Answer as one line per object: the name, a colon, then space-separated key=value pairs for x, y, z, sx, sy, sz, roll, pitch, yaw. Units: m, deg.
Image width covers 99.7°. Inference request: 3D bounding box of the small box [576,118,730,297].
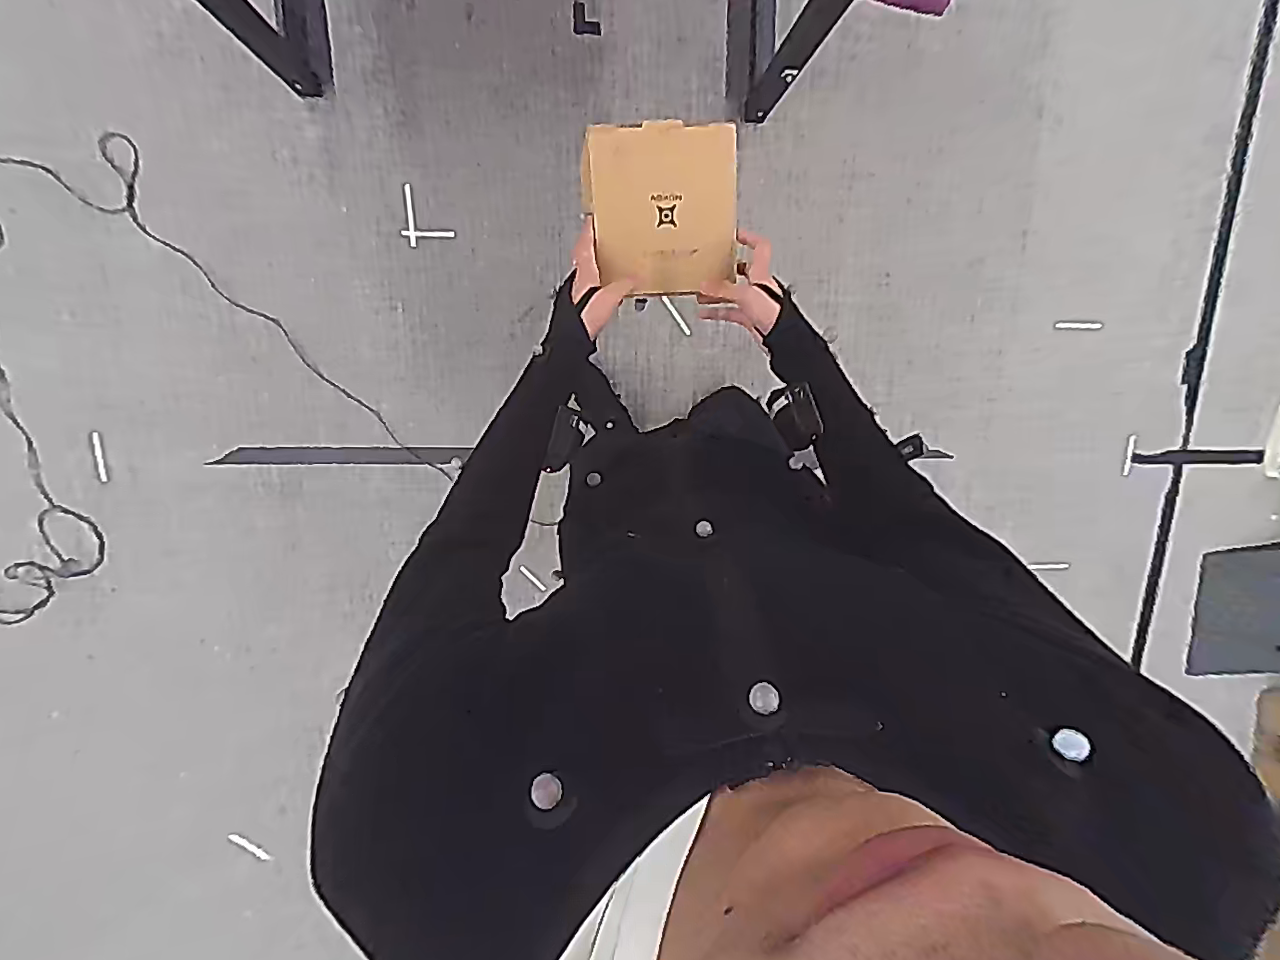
small box: x=0.010 y=-0.329 z=0.682 sx=0.168 sy=0.176 sz=0.179 roll=-5 pitch=109 yaw=-7
